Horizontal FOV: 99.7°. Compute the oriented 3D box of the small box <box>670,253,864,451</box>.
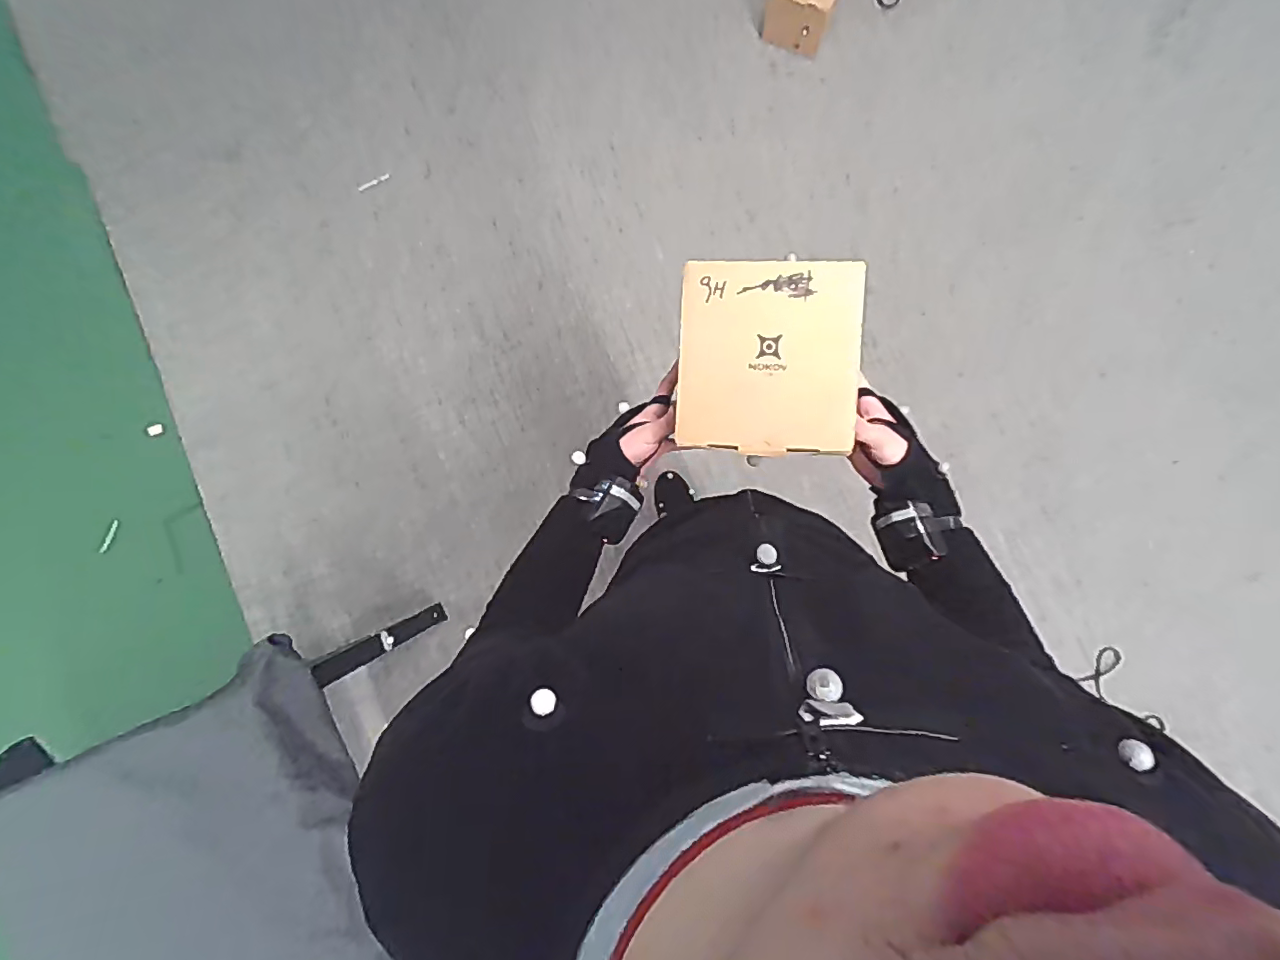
[{"bbox_3d":[0.125,-0.126,0.578,0.168,0.176,0.179,4,95,6],"label":"small box"}]
